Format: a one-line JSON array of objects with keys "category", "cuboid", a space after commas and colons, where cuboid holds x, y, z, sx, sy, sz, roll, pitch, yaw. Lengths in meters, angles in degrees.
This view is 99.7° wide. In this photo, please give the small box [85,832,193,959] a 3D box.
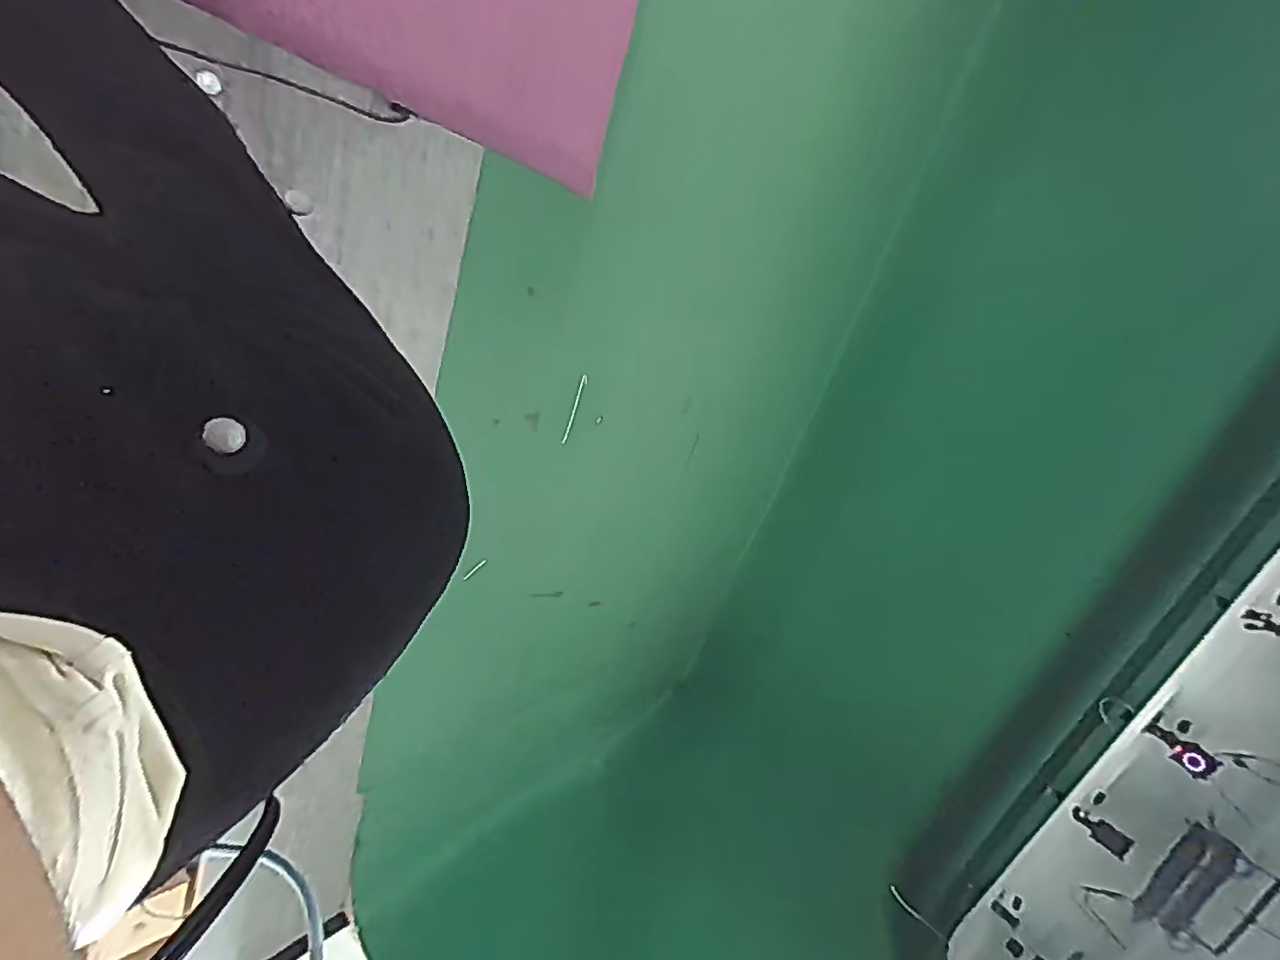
[{"category": "small box", "cuboid": [-1.218, 1.001, 1.312, 0.168, 0.176, 0.179, 1, 116, -51]}]
